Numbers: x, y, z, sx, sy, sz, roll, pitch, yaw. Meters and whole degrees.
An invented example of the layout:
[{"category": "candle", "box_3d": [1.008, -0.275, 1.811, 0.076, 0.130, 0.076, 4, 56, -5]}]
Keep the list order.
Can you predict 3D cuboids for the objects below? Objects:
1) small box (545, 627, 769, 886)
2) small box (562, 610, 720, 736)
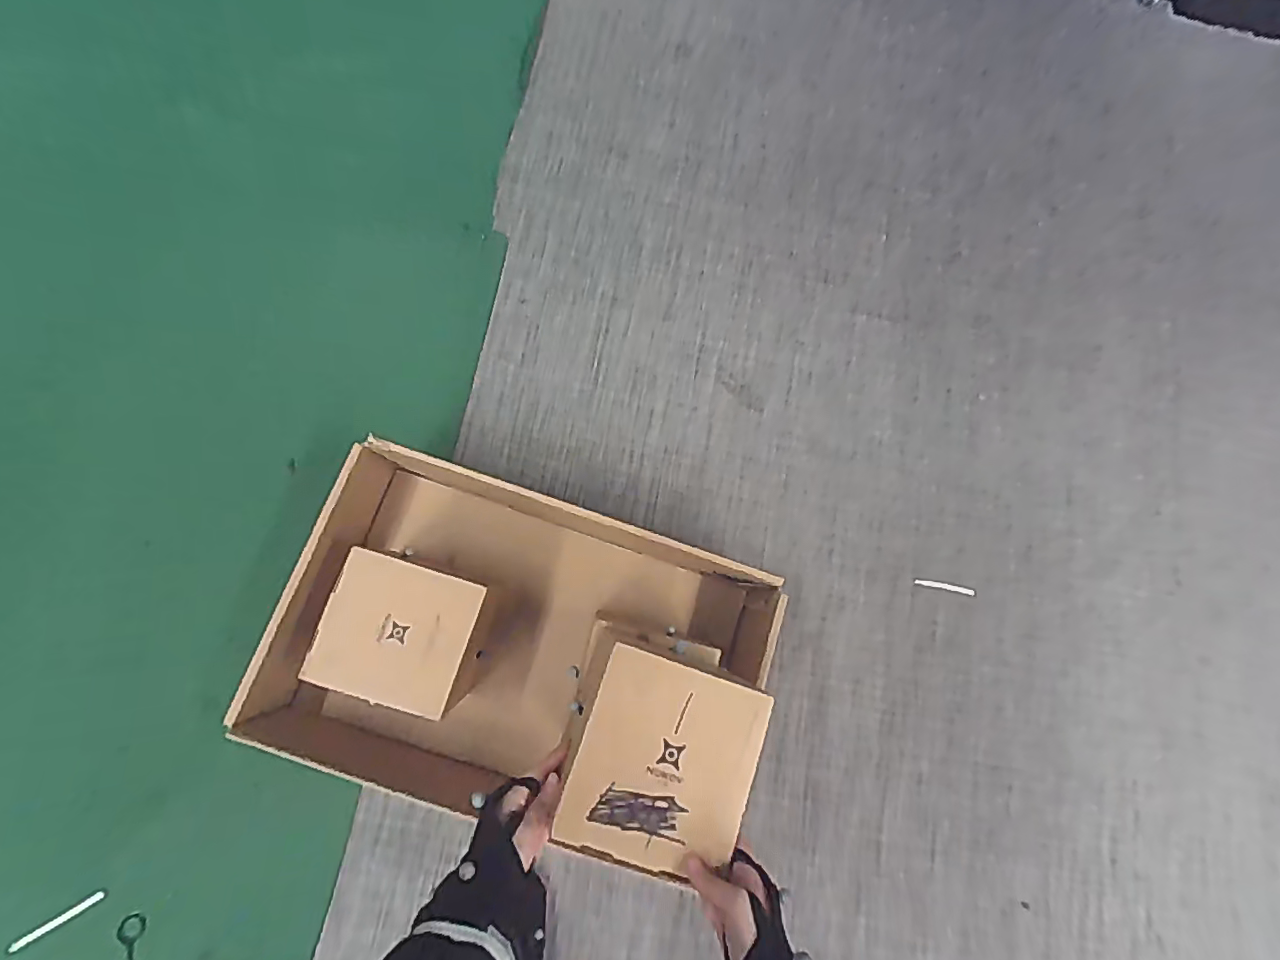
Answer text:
[{"category": "small box", "box_3d": [0.011, 0.270, 0.572, 0.168, 0.176, 0.179, 20, 77, -3]}, {"category": "small box", "box_3d": [-0.004, 0.287, 0.738, 0.168, 0.176, 0.179, 15, 79, -3]}]
